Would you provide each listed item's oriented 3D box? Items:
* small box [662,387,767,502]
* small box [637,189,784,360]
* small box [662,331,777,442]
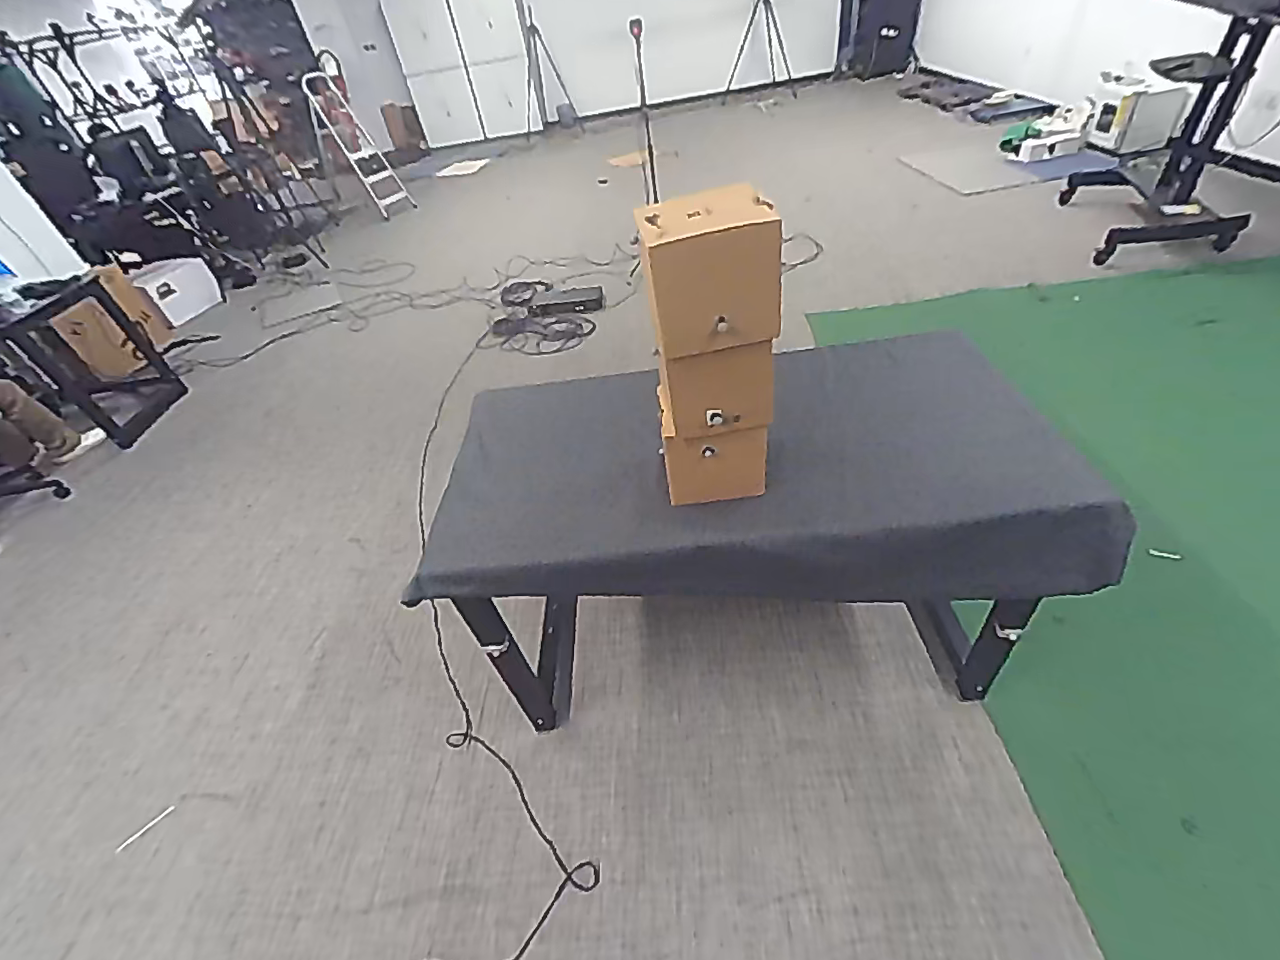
[{"bbox_3d":[0.140,-0.073,1.022,0.179,0.176,0.168,-6,42,5],"label":"small box"},{"bbox_3d":[0.100,-0.297,0.788,0.179,0.176,0.168,-11,41,2],"label":"small box"},{"bbox_3d":[0.126,-0.189,0.909,0.168,0.176,0.179,-11,43,3],"label":"small box"}]
